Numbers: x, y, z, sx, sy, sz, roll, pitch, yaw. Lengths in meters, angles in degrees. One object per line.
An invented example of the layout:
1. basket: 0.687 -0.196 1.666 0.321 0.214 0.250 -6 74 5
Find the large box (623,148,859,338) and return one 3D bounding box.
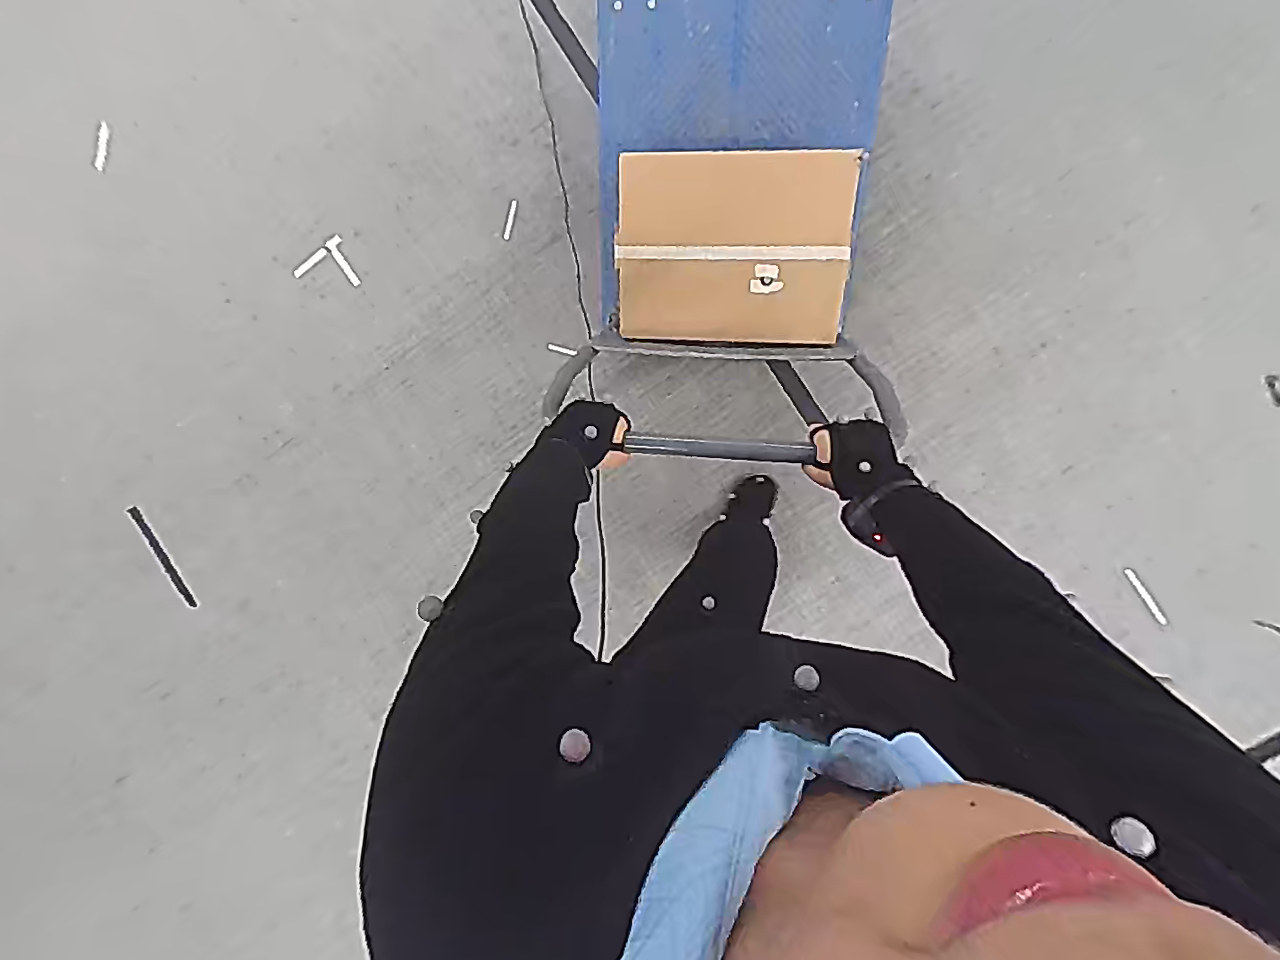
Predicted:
1. large box: 0.185 -0.470 1.111 0.408 0.320 0.320 3 113 7
